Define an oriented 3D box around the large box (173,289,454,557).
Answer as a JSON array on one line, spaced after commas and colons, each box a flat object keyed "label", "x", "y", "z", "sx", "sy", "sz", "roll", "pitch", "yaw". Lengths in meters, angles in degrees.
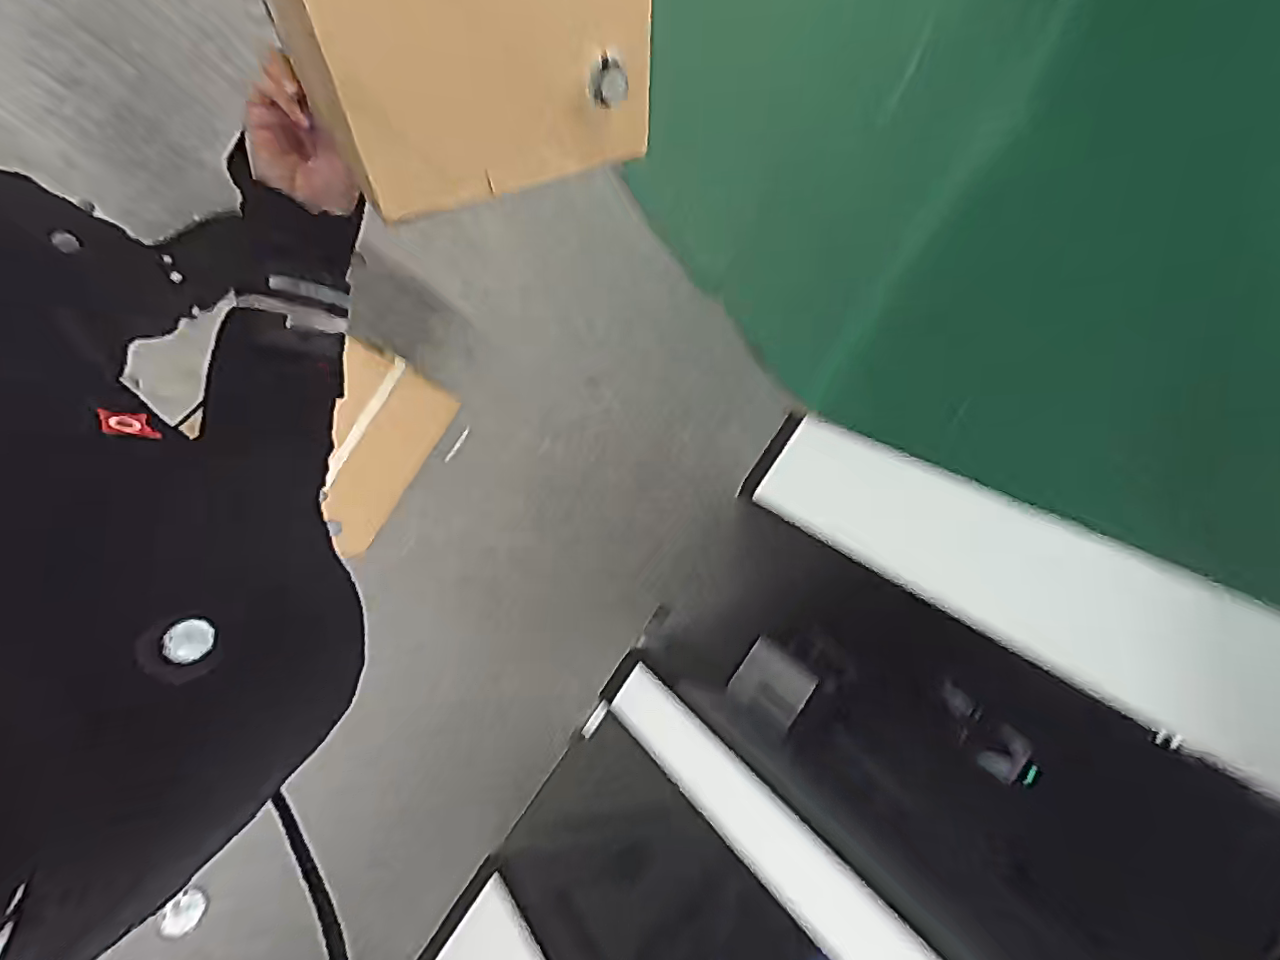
[{"label": "large box", "x": -0.674, "y": -0.115, "z": 1.126, "sx": 0.408, "sy": 0.320, "sz": 0.320, "roll": -56, "pitch": 140, "yaw": 1}]
